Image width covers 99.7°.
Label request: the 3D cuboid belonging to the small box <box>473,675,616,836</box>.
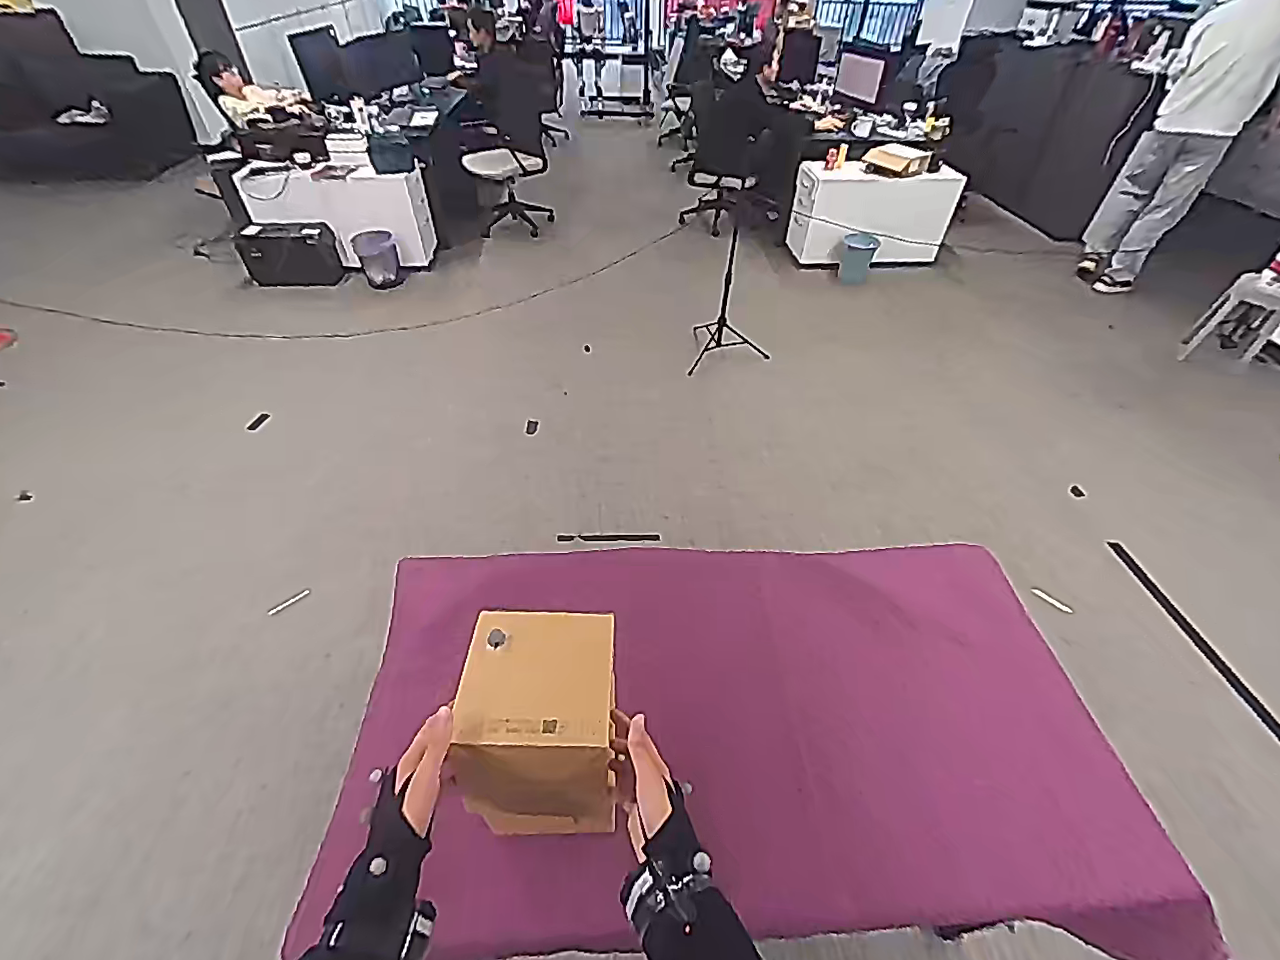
[{"bbox_3d":[-0.124,0.397,0.780,0.179,0.176,0.168,0,44,-2],"label":"small box"}]
